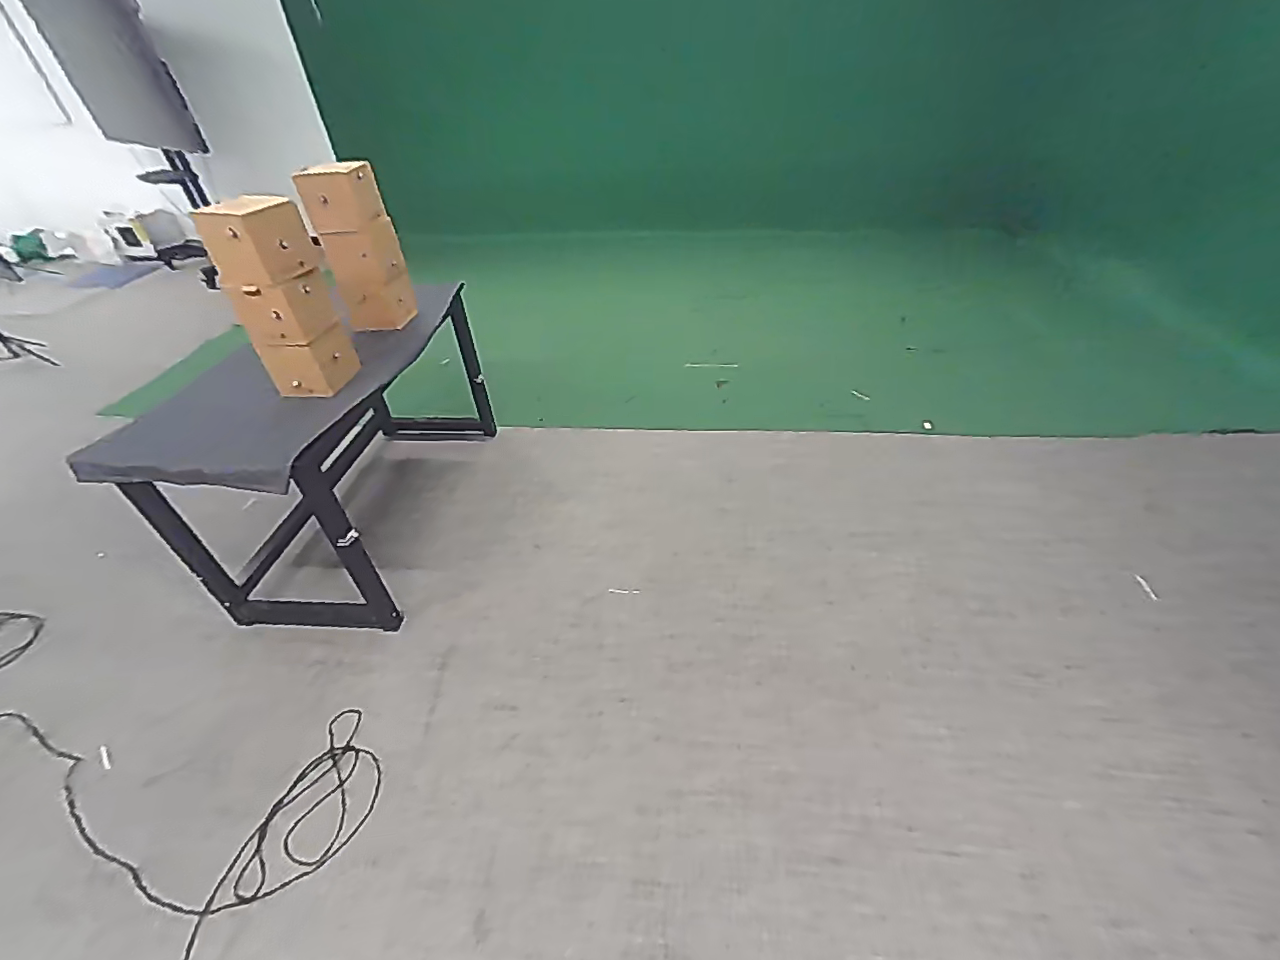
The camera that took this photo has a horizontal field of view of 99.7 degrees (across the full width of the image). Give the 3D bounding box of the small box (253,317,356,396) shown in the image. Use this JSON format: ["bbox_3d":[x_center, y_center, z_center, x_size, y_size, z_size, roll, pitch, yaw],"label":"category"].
[{"bbox_3d":[-0.963,-0.363,1.578,0.168,0.176,0.179,1,41,6],"label":"small box"}]

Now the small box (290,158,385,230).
[{"bbox_3d":[-0.943,-0.899,1.702,0.179,0.176,0.168,-2,41,4],"label":"small box"}]

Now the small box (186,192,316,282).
[{"bbox_3d":[-0.969,-0.612,1.366,0.179,0.176,0.168,11,41,16],"label":"small box"}]

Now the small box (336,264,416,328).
[{"bbox_3d":[-0.924,-0.650,1.916,0.179,0.176,0.168,0,40,6],"label":"small box"}]

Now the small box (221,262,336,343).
[{"bbox_3d":[-0.969,-0.484,1.471,0.168,0.176,0.179,3,40,6],"label":"small box"}]
